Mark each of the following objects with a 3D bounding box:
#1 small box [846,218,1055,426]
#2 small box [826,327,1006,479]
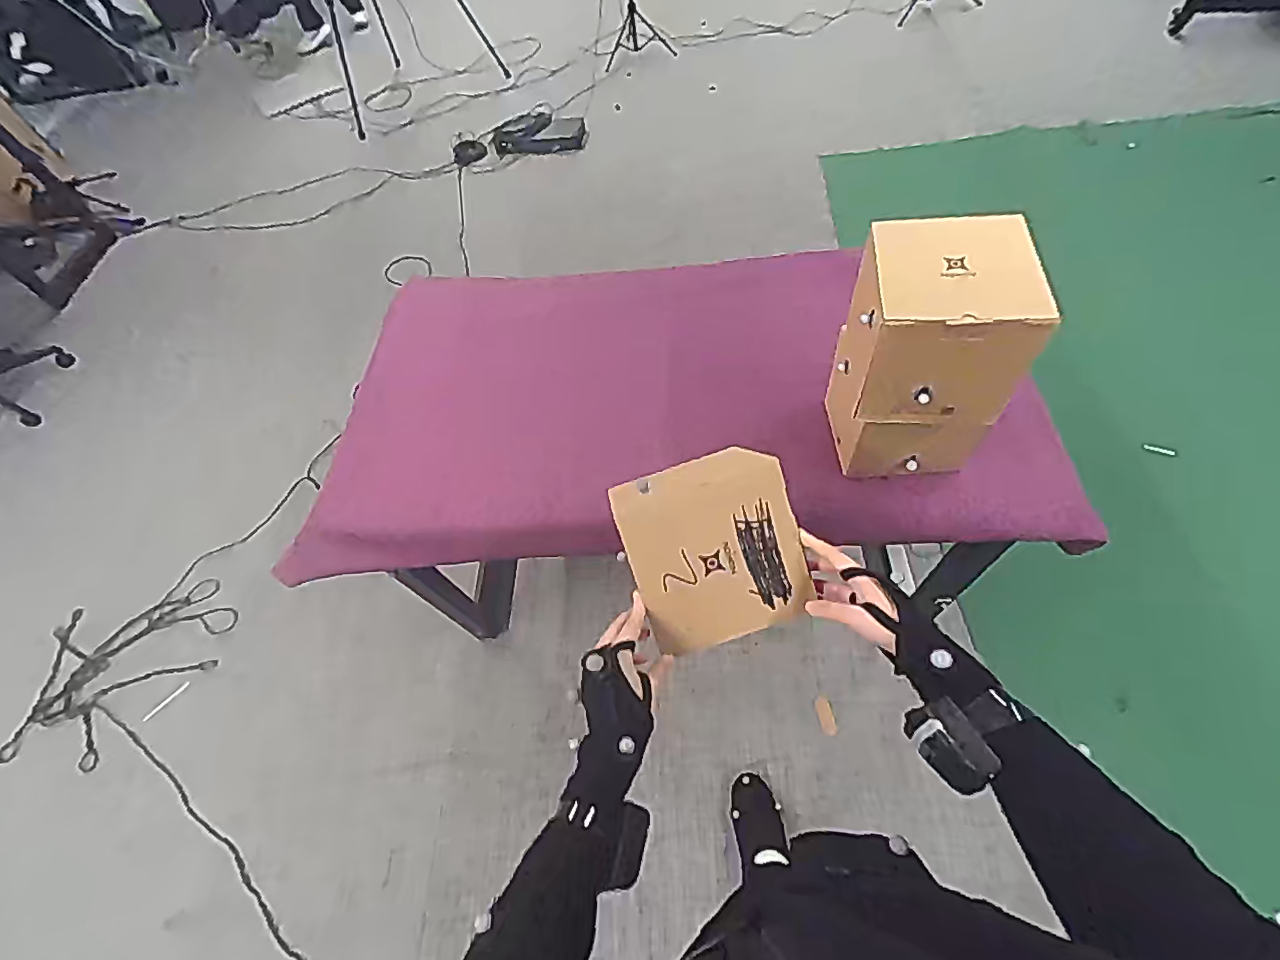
[{"bbox_3d":[0.351,-0.187,0.655,0.168,0.176,0.179,2,58,12],"label":"small box"},{"bbox_3d":[0.388,-0.115,0.799,0.179,0.176,0.168,-4,55,7],"label":"small box"}]
